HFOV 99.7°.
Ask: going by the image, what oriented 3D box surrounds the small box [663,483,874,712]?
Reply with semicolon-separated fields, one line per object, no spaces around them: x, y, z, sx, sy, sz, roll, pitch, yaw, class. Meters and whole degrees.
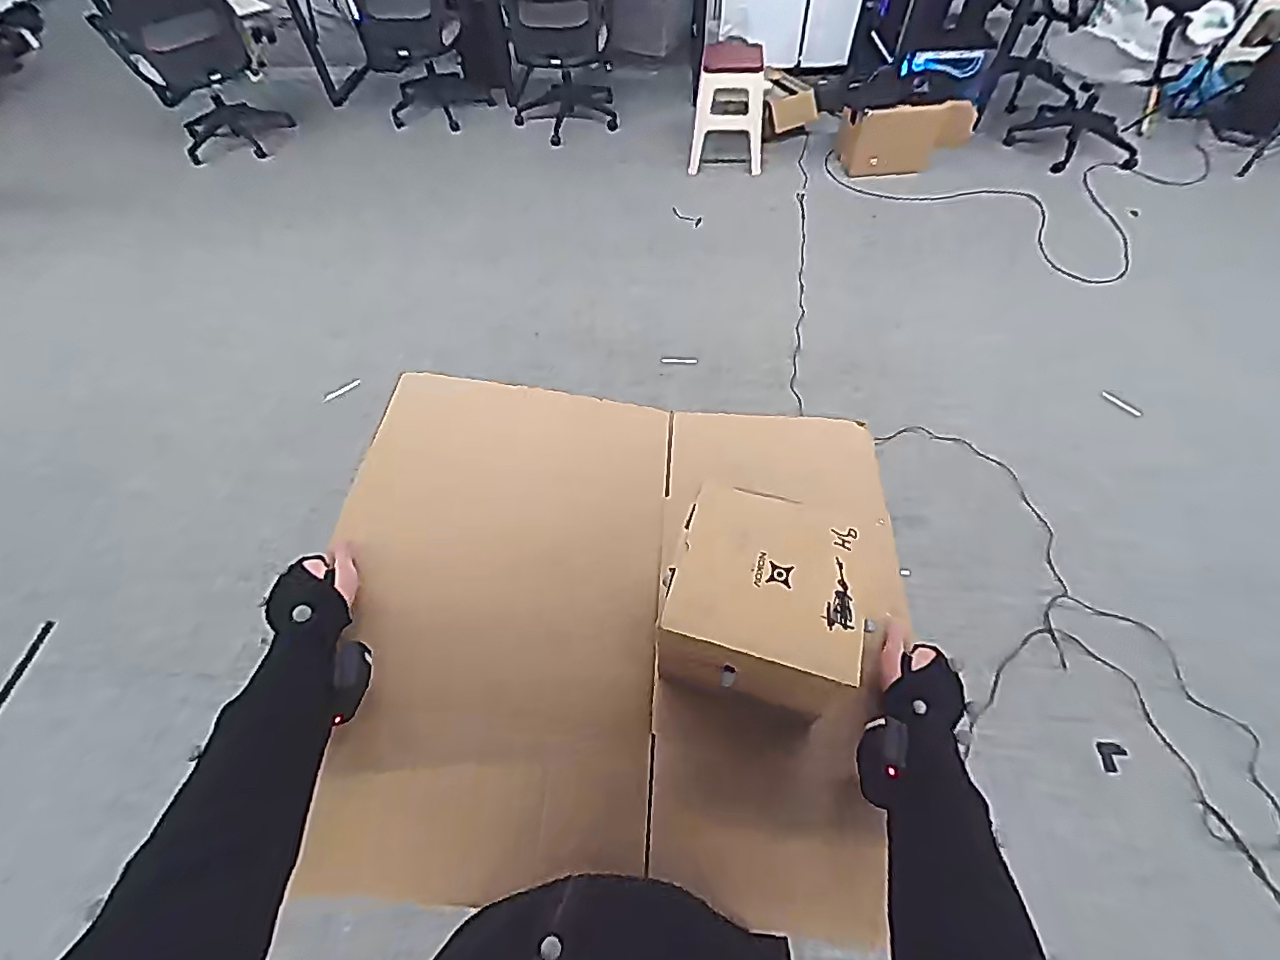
0.131;0.131;0.579;0.179;0.176;0.168;13;58;12;small box
